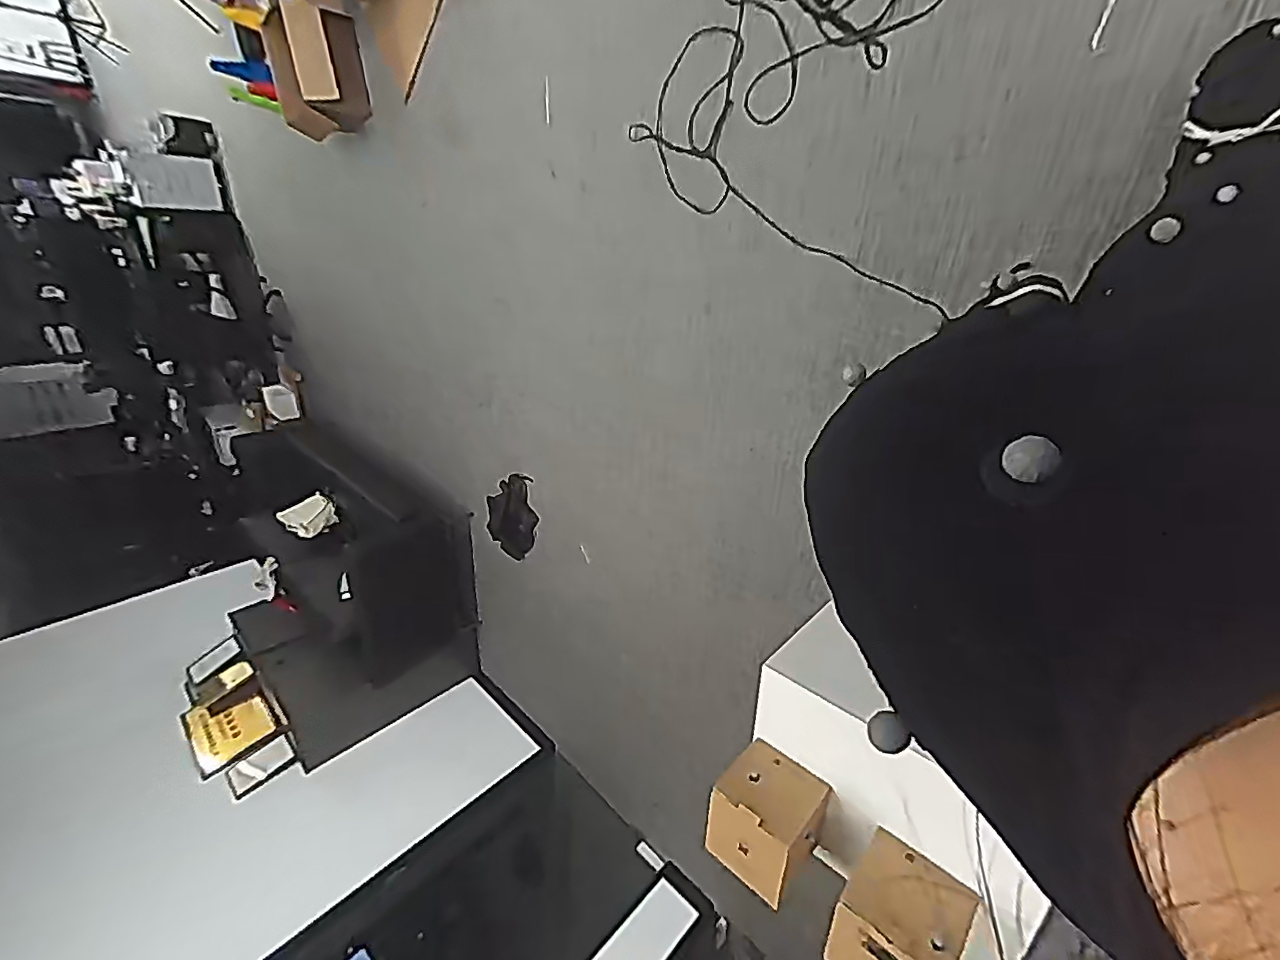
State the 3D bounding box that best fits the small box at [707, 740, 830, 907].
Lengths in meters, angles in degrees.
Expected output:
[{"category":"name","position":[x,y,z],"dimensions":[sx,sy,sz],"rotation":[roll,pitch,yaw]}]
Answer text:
[{"category":"small box","position":[0.250,0.653,1.051],"dimensions":[0.168,0.176,0.179],"rotation":[22,122,39]}]
